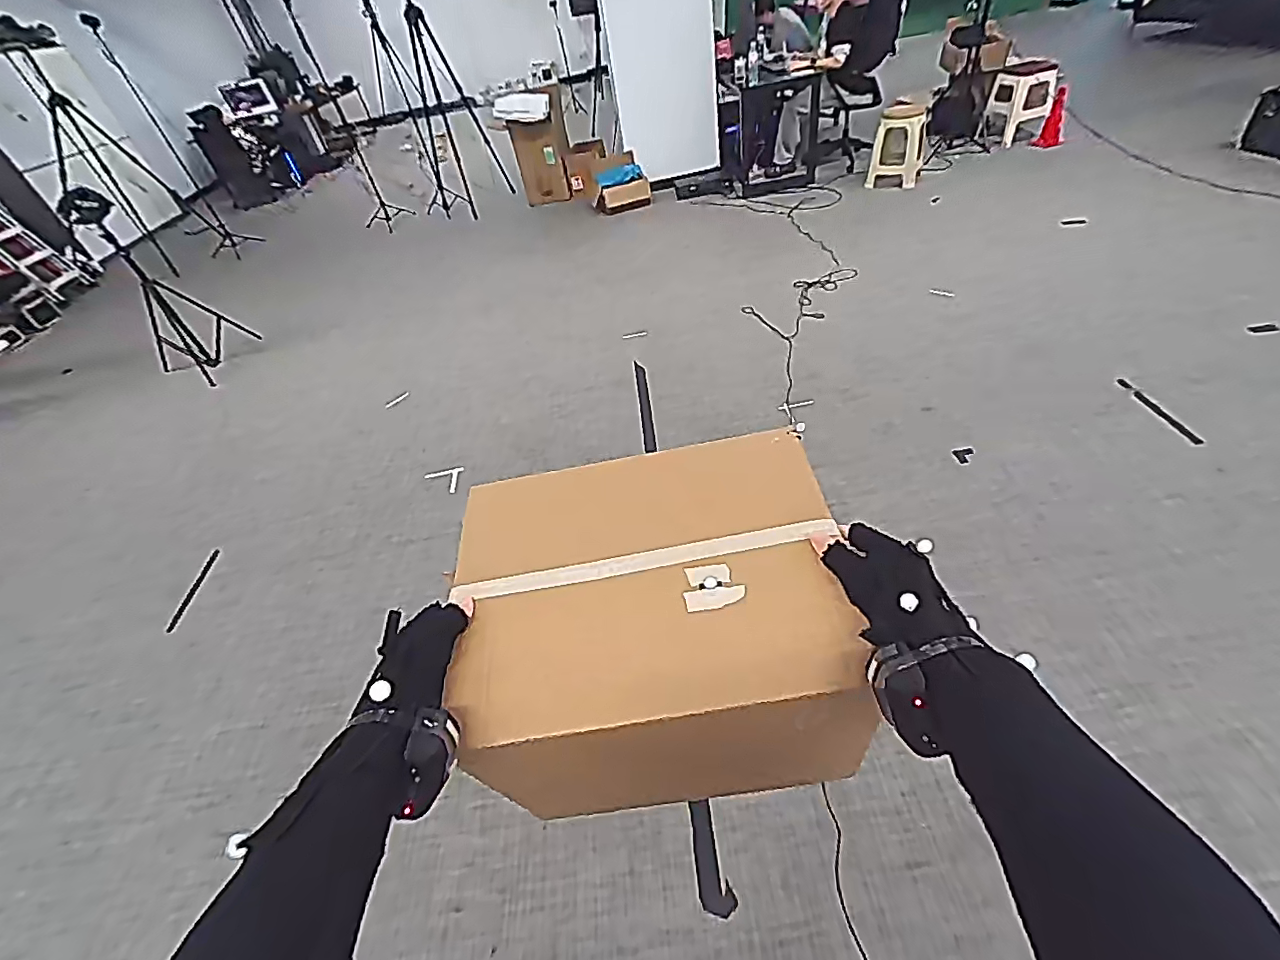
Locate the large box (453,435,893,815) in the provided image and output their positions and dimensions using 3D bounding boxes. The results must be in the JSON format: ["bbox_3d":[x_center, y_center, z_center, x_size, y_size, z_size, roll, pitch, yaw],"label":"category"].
[{"bbox_3d":[0.032,0.189,0.682,0.408,0.320,0.320,-10,48,3],"label":"large box"}]
